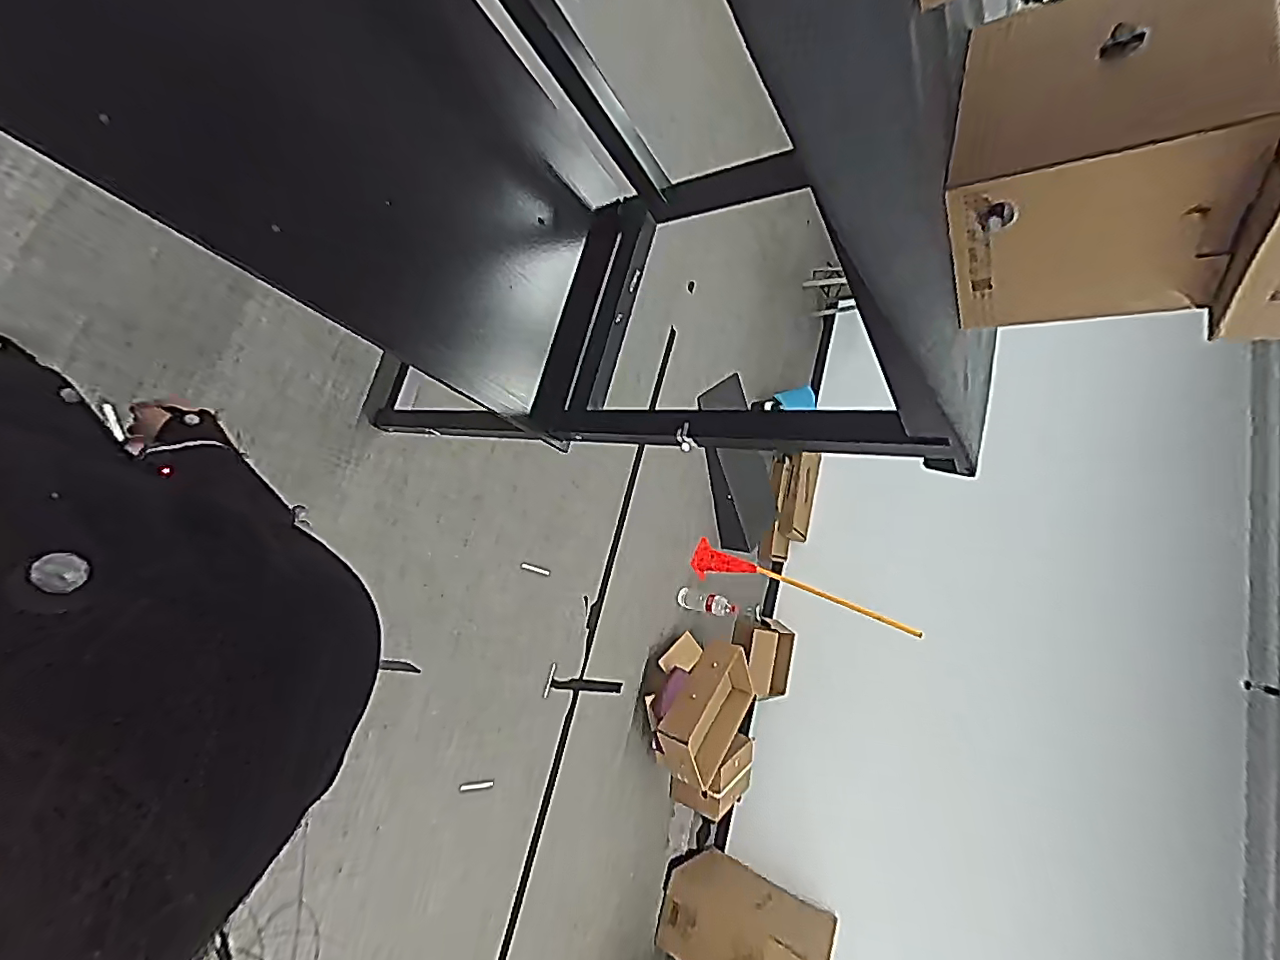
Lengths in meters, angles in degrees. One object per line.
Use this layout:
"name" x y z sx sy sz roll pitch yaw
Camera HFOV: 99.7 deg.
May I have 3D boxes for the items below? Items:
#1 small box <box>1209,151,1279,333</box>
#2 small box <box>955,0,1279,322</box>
"small box" 0.475 -0.205 0.321 0.168 0.176 0.179 29 70 -53
"small box" 0.351 -0.246 0.423 0.168 0.176 0.179 38 63 -49
